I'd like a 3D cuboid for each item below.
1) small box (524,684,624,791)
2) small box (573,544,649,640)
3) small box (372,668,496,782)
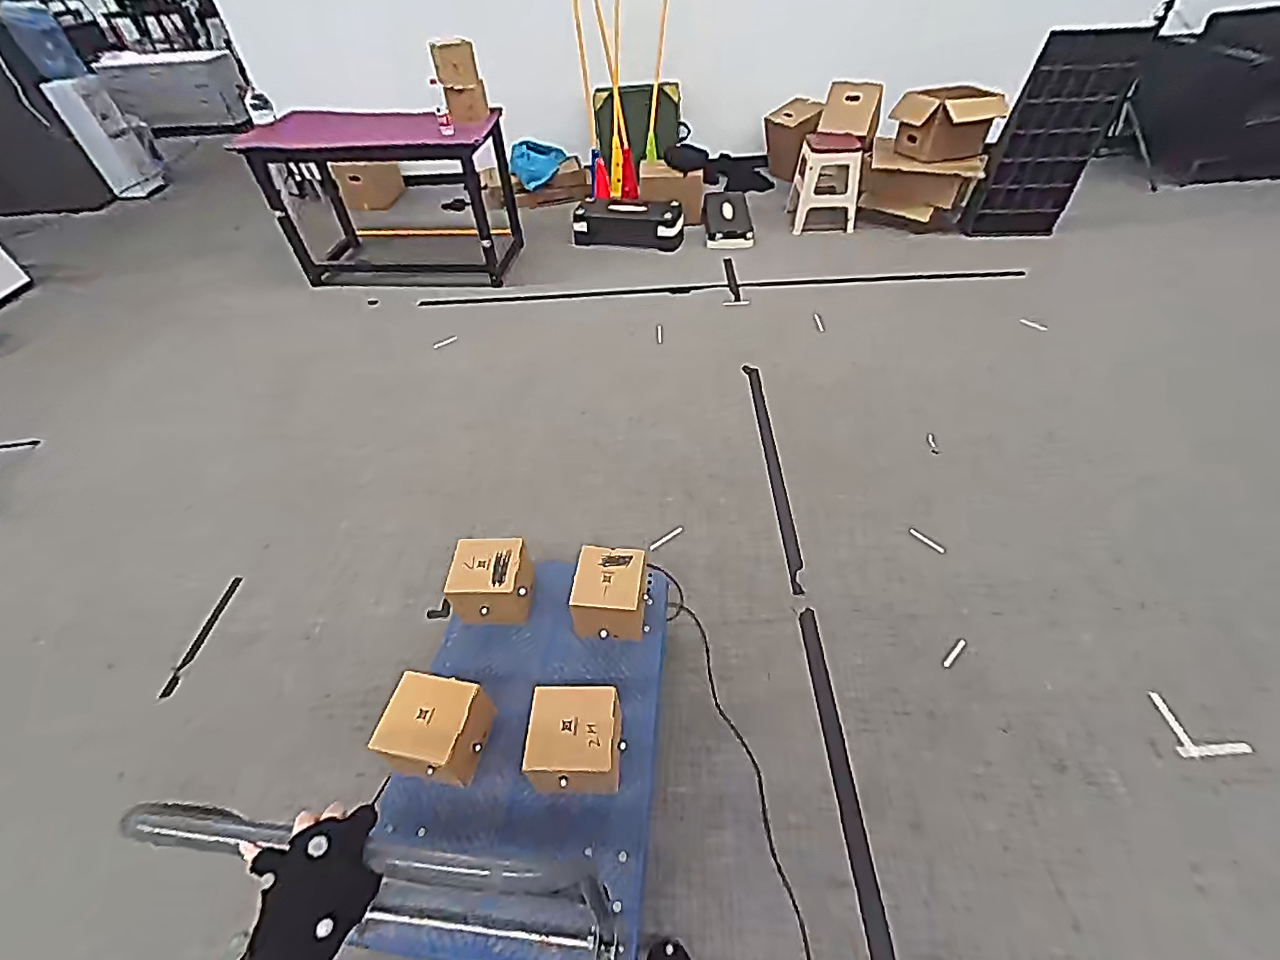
[{"bbox_3d":[-0.131,0.550,1.152,0.179,0.176,0.168,0,47,3],"label":"small box"},{"bbox_3d":[-0.068,0.289,1.393,0.168,0.176,0.179,4,48,7],"label":"small box"},{"bbox_3d":[-0.438,0.538,1.182,0.179,0.176,0.168,8,47,8],"label":"small box"}]
